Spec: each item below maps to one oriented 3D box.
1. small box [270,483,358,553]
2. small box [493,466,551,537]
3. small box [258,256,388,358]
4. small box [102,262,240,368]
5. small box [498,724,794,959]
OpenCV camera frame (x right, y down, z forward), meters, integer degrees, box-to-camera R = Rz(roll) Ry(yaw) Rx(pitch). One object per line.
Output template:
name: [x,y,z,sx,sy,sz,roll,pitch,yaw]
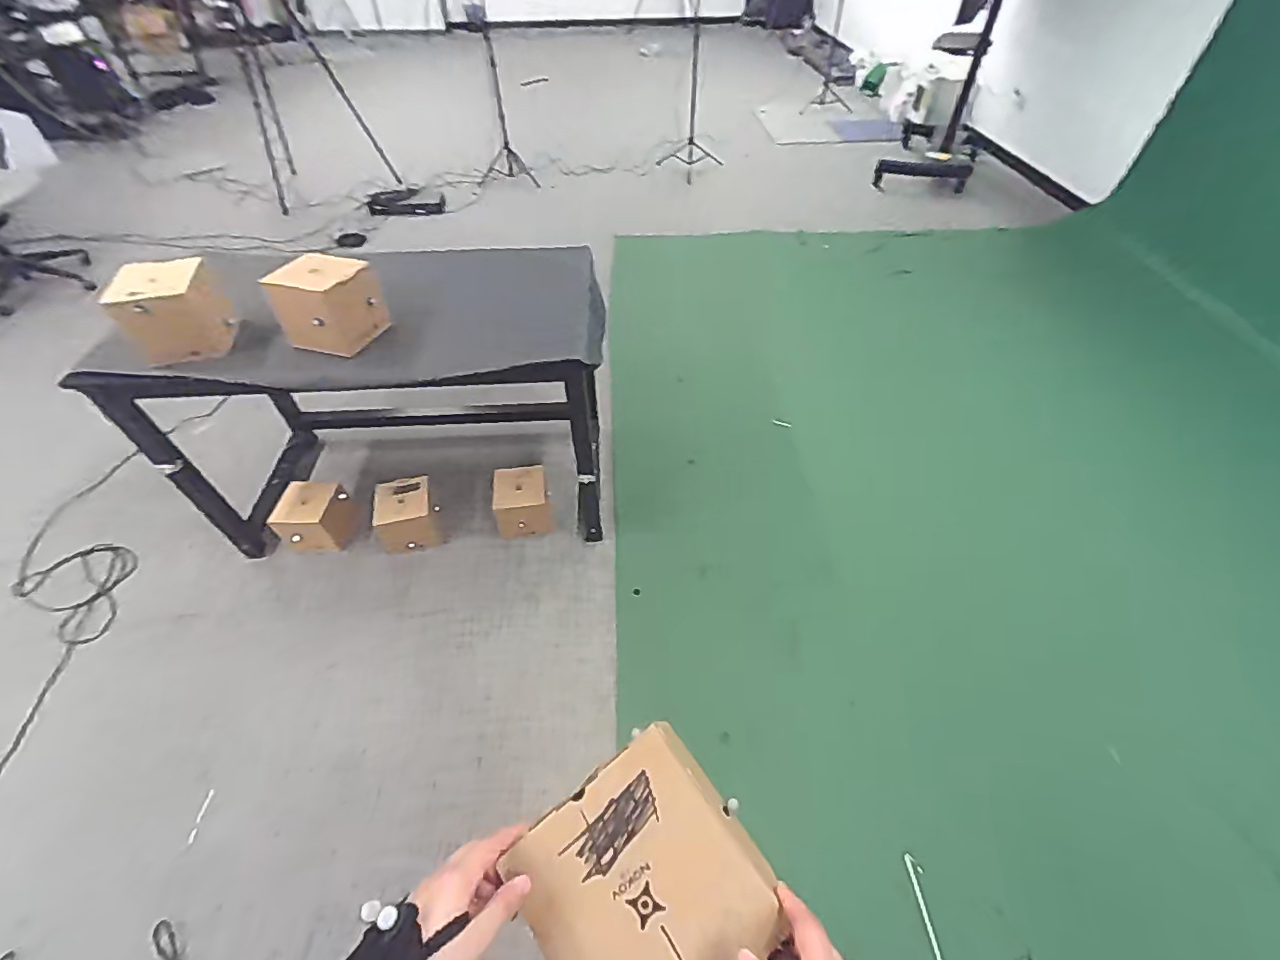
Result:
small box: [-1.069,0.129,1.792,0.168,0.176,0.179,0,47,2]
small box: [-0.392,0.078,1.819,0.168,0.176,0.179,-6,48,-5]
small box: [-0.741,-0.410,1.289,0.179,0.176,0.168,11,46,13]
small box: [-1.087,-0.388,1.275,0.168,0.176,0.179,-12,49,-10]
small box: [0.006,0.348,0.488,0.168,0.176,0.179,-38,68,-10]
